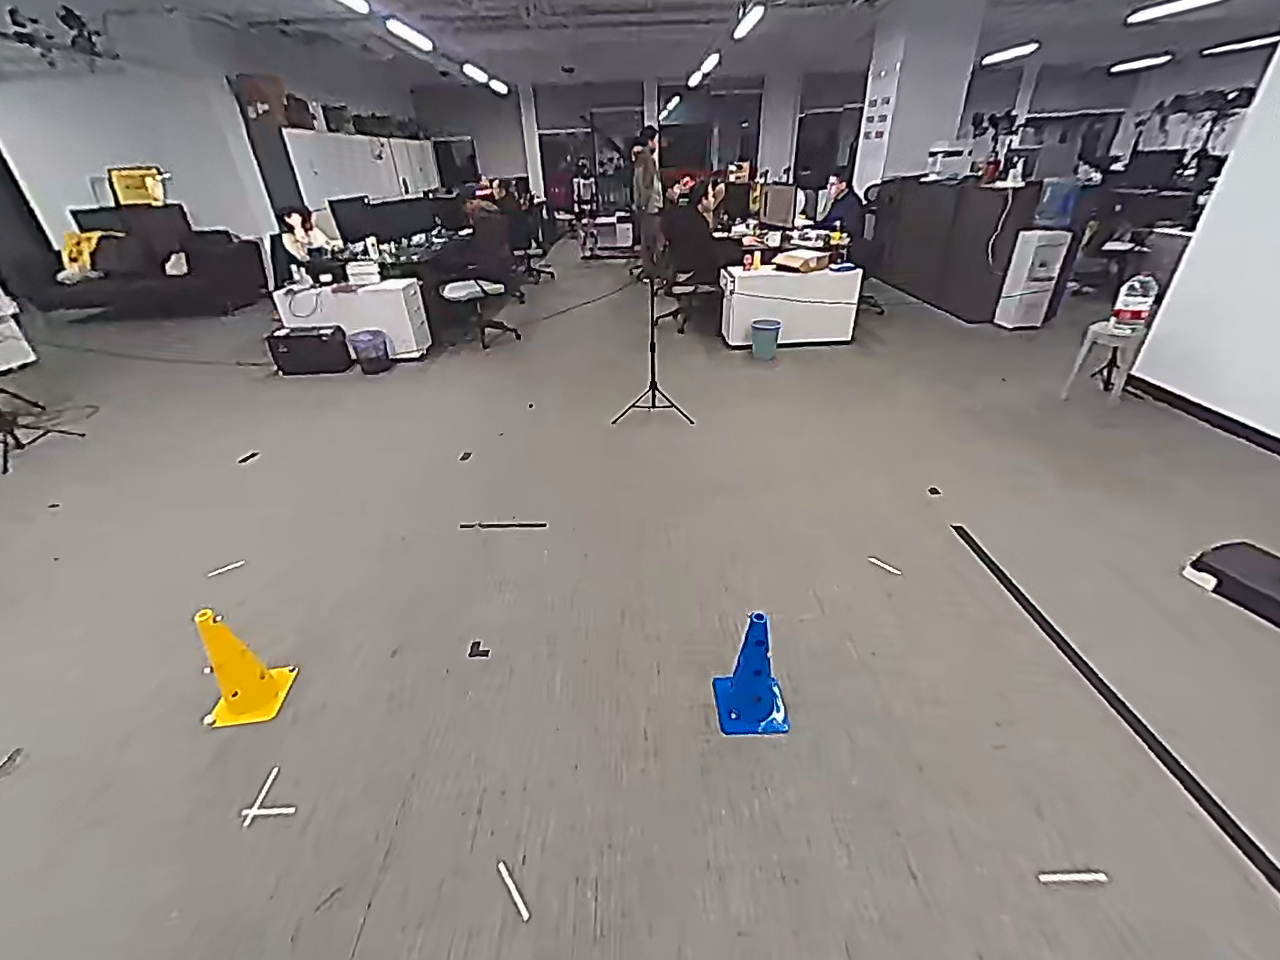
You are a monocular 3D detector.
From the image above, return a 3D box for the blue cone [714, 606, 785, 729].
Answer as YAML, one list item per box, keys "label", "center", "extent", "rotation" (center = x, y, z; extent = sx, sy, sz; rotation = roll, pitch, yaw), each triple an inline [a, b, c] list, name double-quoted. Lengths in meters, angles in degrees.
- label: "blue cone"
  center: [0.321, 0.516, 1.531]
  extent: [0.193, 0.380, 0.192]
  rotation: [-1, 30, 1]
